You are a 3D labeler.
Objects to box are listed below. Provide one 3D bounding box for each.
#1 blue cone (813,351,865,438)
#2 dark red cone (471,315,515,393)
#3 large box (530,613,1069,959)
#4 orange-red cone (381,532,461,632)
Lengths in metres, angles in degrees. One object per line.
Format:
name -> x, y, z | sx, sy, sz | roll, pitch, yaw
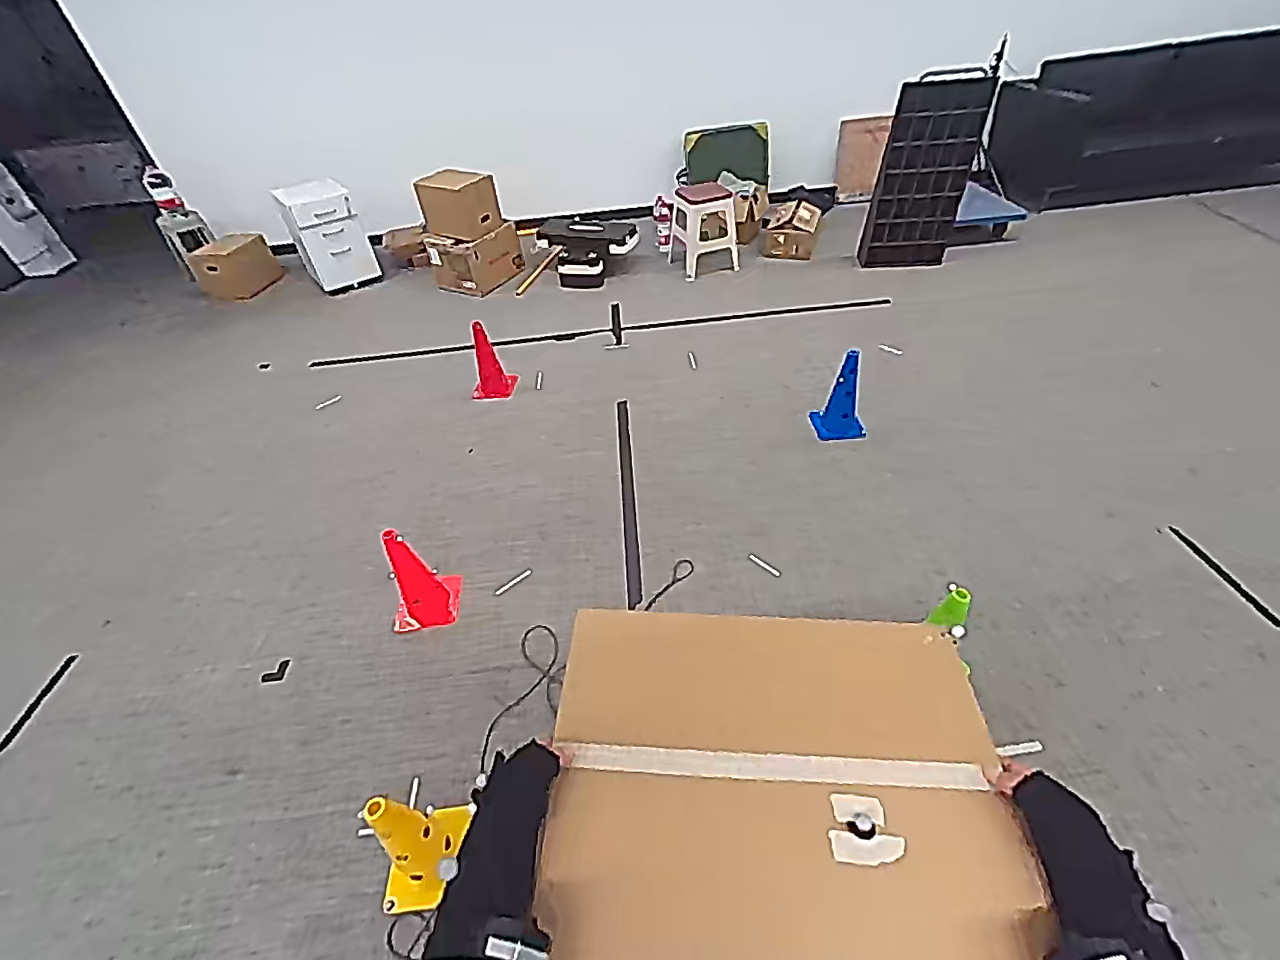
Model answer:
blue cone -> 0.852, -0.363, 2.247 | 0.192, 0.380, 0.193 | -3, 43, 1
dark red cone -> -0.754, -0.612, 2.631 | 0.201, 0.394, 0.202 | -1, 43, 3
large box -> 0.123, 0.369, 0.596 | 0.408, 0.320, 0.320 | 2, 44, 3
orange-red cone -> -0.720, 0.291, 1.696 | 0.198, 0.360, 0.199 | -9, 44, -2
